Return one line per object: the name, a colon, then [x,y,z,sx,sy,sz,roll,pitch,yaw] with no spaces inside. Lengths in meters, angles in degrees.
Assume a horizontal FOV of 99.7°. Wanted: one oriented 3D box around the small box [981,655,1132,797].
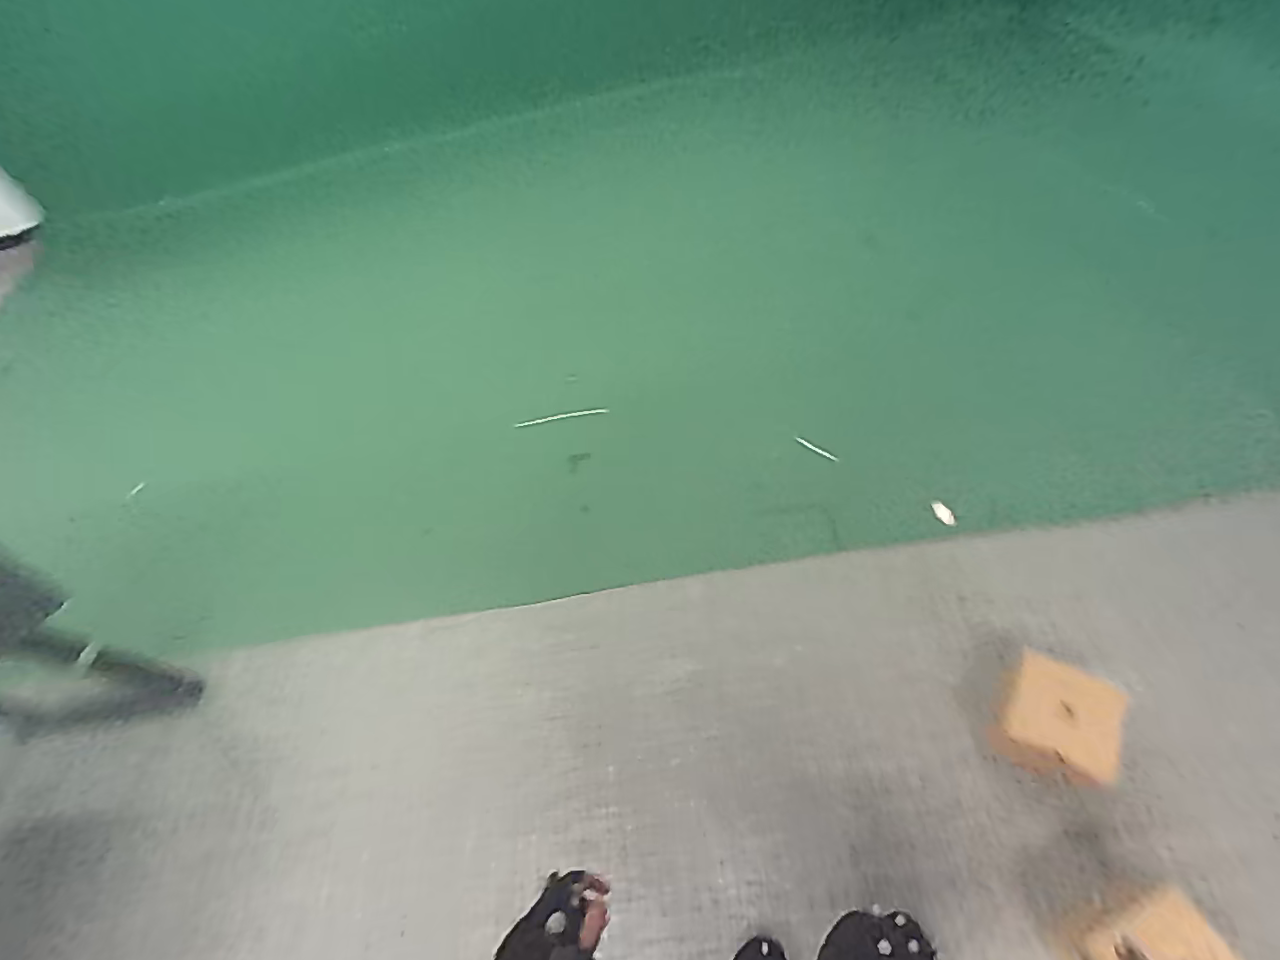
small box: [0.779,0.471,1.028,0.168,0.176,0.179,23,62,24]
